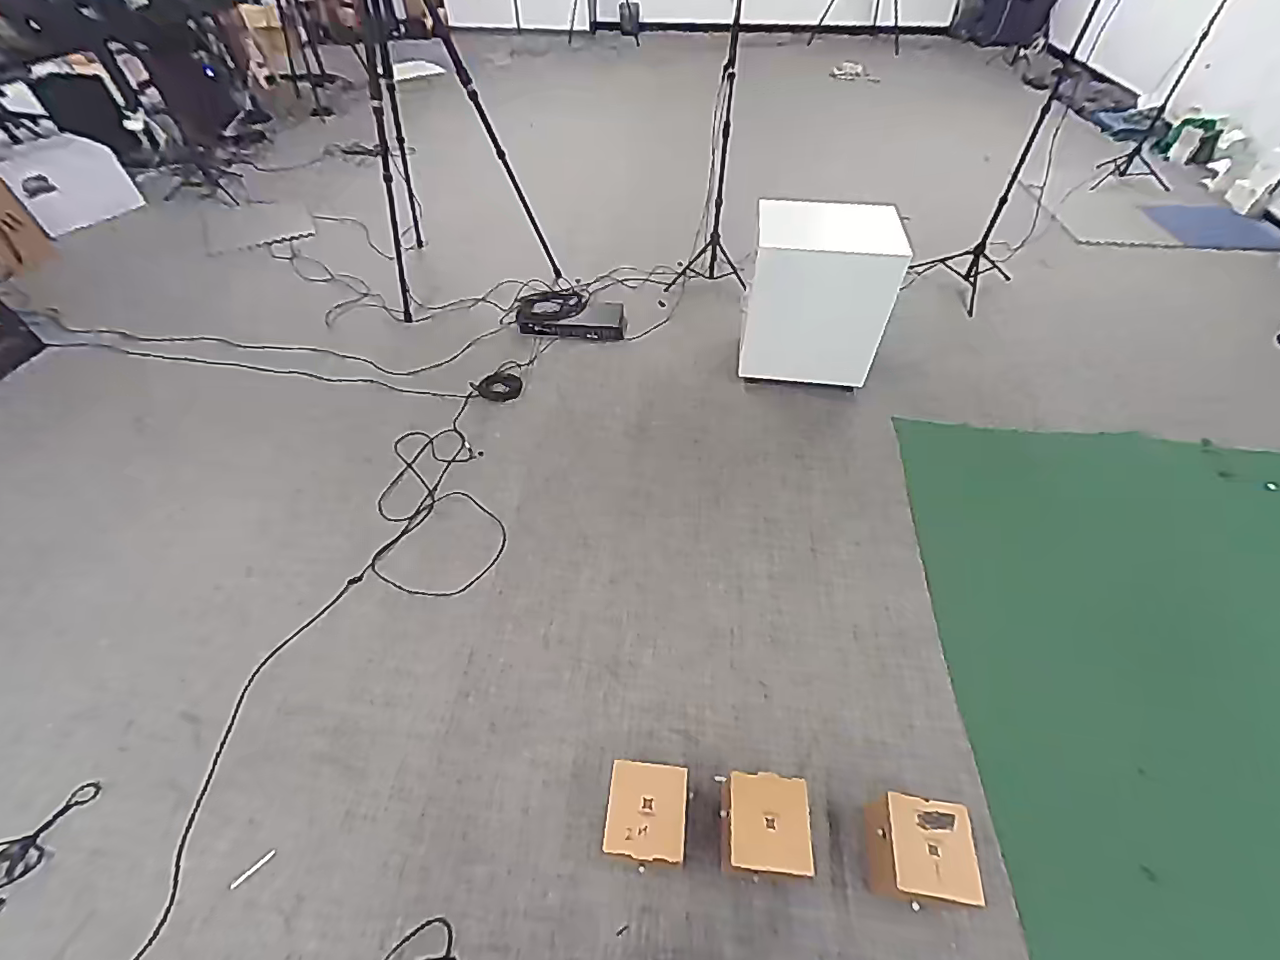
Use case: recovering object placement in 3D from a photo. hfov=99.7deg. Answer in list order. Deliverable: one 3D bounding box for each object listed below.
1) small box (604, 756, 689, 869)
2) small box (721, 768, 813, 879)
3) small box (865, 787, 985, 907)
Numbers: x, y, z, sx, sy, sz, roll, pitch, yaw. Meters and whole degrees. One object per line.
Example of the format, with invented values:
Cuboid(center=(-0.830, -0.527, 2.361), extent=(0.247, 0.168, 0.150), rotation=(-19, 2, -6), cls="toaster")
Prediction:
Cuboid(center=(0.017, 0.736, 1.197), extent=(0.168, 0.176, 0.179), rotation=(4, 49, 5), cls="small box")
Cuboid(center=(0.271, 0.755, 1.184), extent=(0.168, 0.176, 0.179), rotation=(4, 49, 3), cls="small box")
Cuboid(center=(0.595, 0.786, 1.156), extent=(0.168, 0.176, 0.179), rotation=(7, 50, 6), cls="small box")
